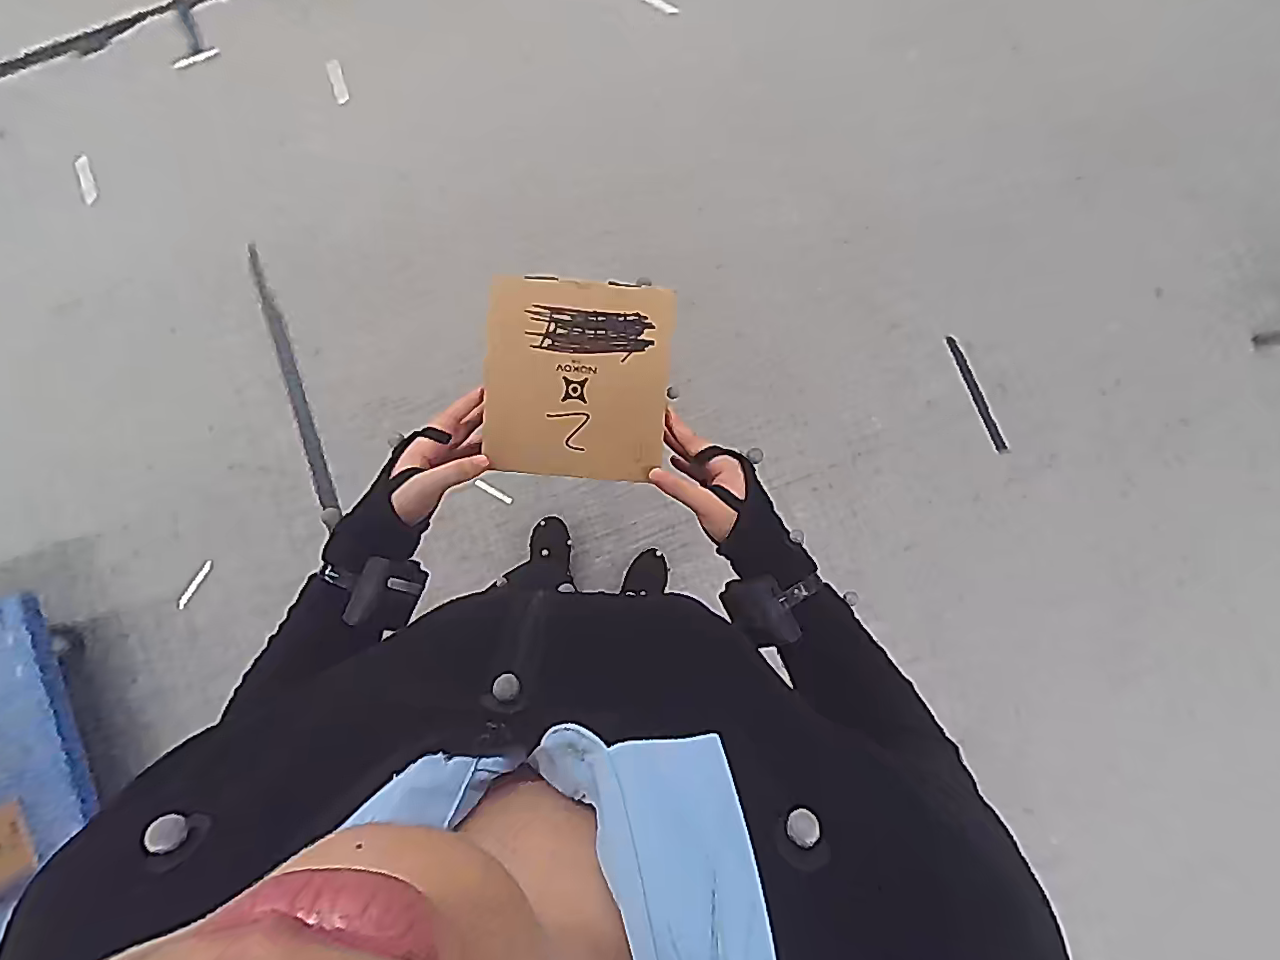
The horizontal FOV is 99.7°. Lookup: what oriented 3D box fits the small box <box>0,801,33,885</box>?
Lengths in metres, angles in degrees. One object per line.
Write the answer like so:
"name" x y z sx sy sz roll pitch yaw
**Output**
"small box" -1.507 0.843 1.171 0.179 0.176 0.168 -25 84 -3
